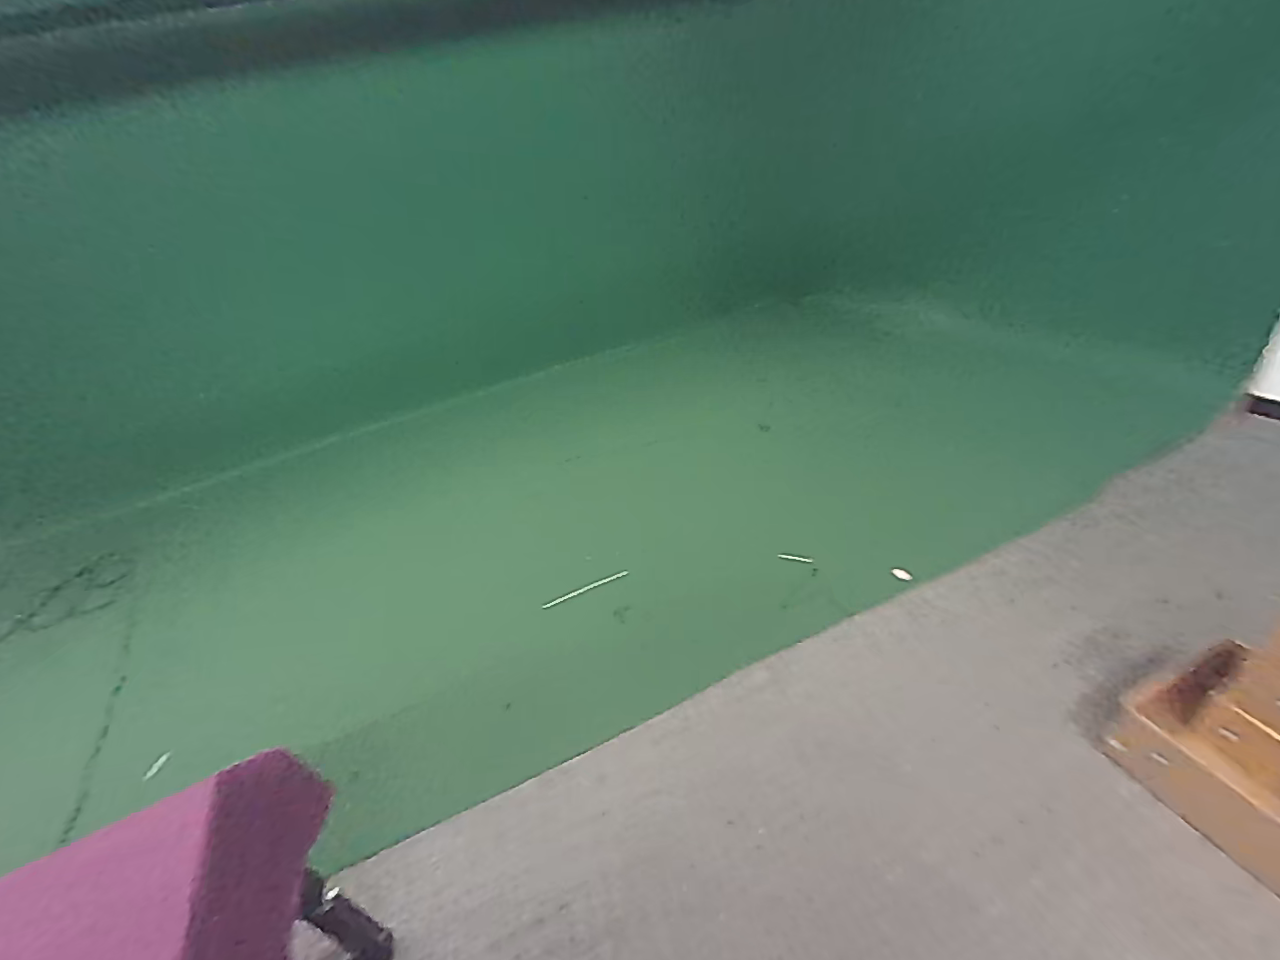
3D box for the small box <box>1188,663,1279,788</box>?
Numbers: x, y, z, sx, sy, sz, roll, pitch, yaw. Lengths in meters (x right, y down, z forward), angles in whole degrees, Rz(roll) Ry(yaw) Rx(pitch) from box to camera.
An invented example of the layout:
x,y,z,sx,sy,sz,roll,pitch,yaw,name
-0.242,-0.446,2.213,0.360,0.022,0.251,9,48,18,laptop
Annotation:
x,y,z,sx,sy,sz,roll,pitch,yaw,name
1.417,0.560,1.233,0.179,0.176,0.168,-19,35,-9,small box
